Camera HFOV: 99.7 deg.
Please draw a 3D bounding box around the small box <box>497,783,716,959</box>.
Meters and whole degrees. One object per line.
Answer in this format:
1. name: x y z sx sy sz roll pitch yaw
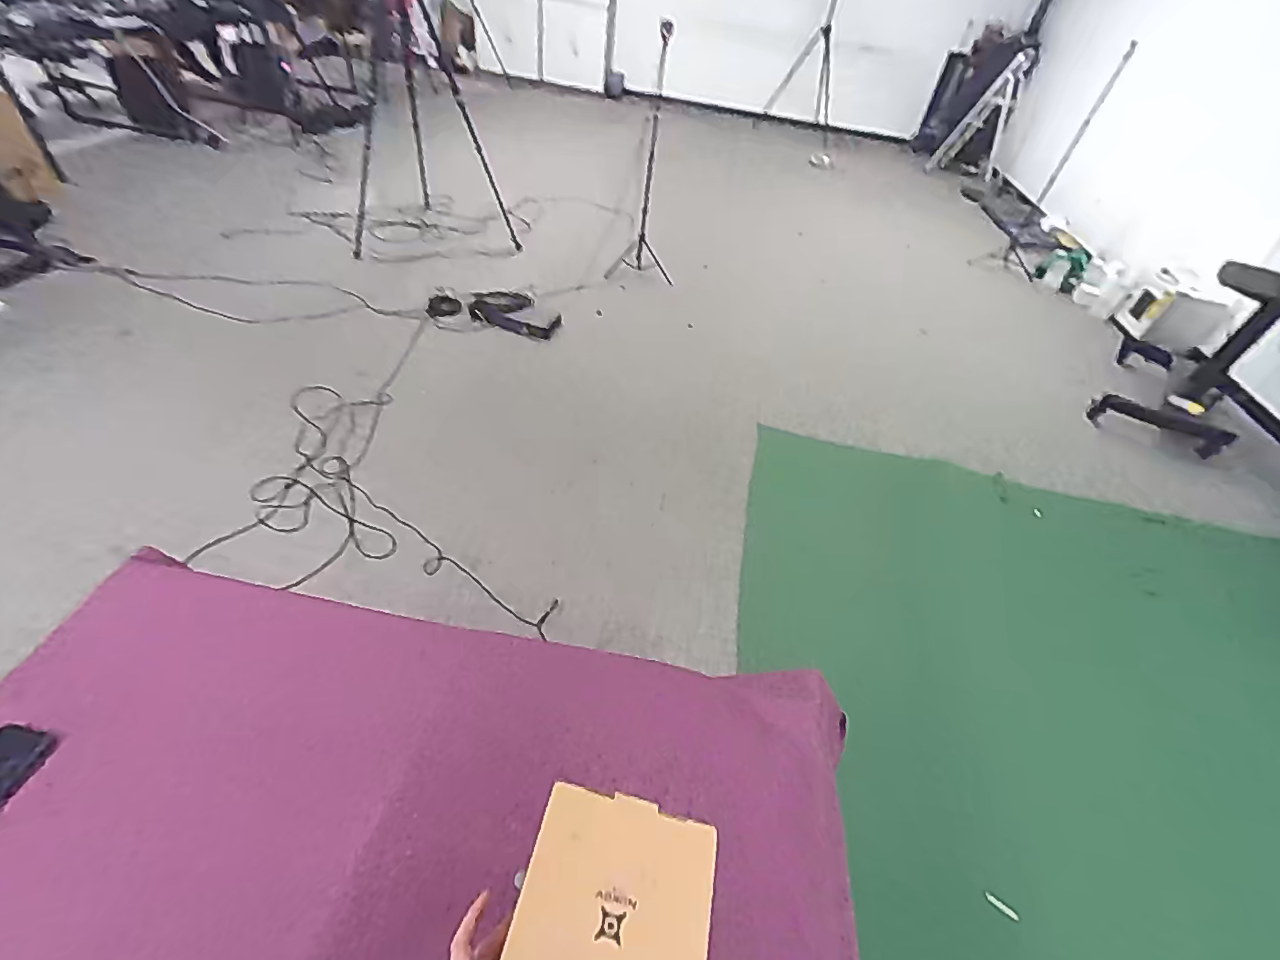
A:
1. small box: -0.035 0.427 0.508 0.168 0.176 0.179 14 41 4
